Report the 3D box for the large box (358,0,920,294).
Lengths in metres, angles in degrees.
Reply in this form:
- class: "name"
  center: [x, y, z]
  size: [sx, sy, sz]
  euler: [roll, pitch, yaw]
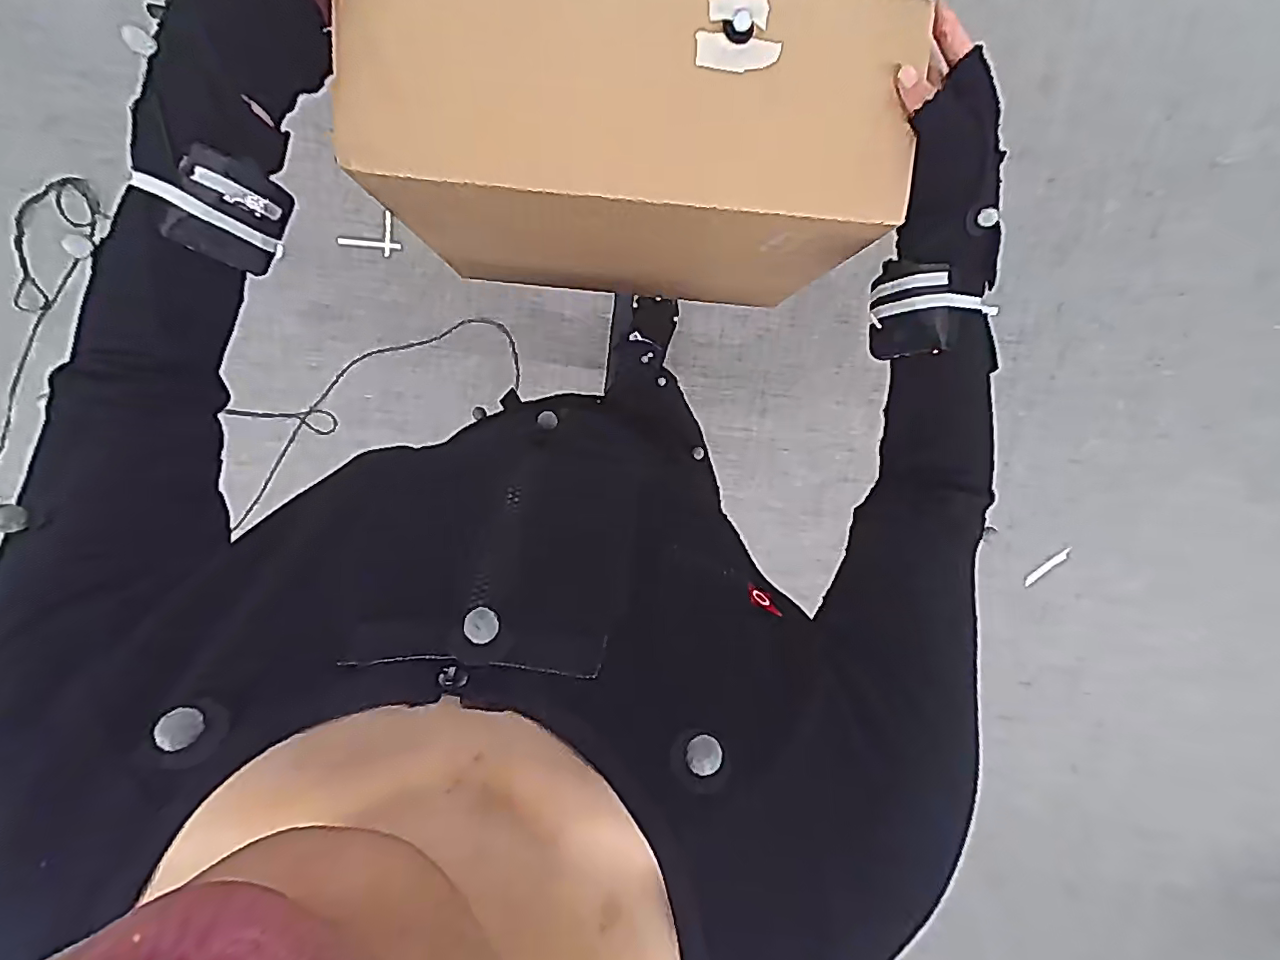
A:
- class: "large box"
  center: [-0.003, -0.384, 0.526]
  size: [0.408, 0.320, 0.320]
  euler: [4, 97, -4]
